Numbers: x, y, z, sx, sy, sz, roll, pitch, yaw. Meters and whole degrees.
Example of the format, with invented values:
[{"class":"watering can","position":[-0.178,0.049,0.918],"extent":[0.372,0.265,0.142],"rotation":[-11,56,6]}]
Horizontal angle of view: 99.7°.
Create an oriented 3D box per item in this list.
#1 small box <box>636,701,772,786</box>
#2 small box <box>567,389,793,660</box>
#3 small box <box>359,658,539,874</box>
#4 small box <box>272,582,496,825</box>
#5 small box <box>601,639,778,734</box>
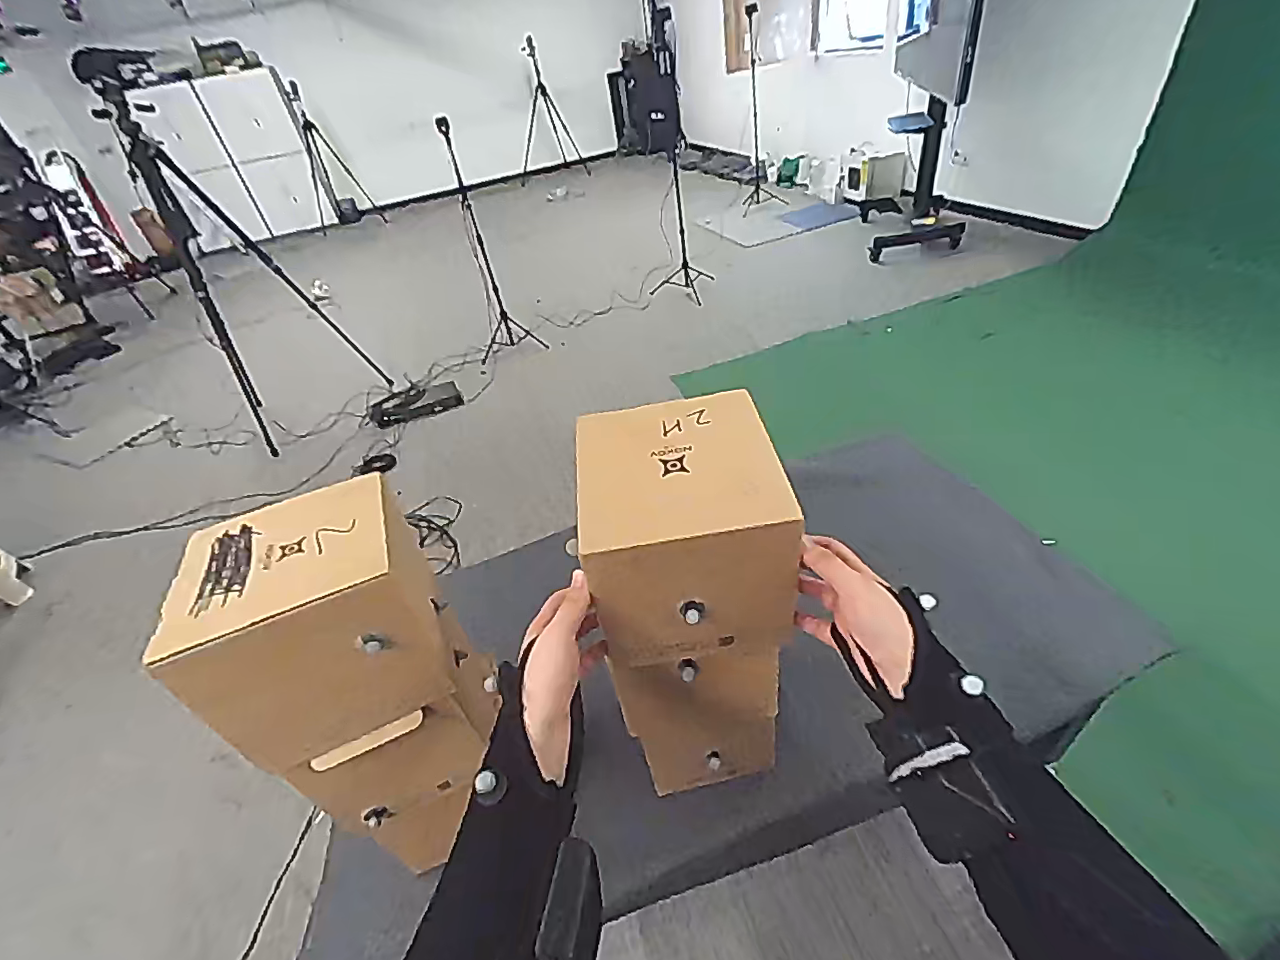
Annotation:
[{"class":"small box","position":[0.076,0.294,0.744],"extent":[0.168,0.176,0.179],"rotation":[-14,39,-2]},{"class":"small box","position":[0.033,0.046,0.492],"extent":[0.168,0.176,0.179],"rotation":[-10,43,1]},{"class":"small box","position":[-0.245,0.380,0.723],"extent":[0.179,0.176,0.168],"rotation":[-20,38,-10]},{"class":"small box","position":[-0.279,0.257,0.619],"extent":[0.168,0.176,0.179],"rotation":[-22,37,-13]},{"class":"small box","position":[0.056,0.172,0.636],"extent":[0.179,0.176,0.168],"rotation":[-11,38,3]}]
